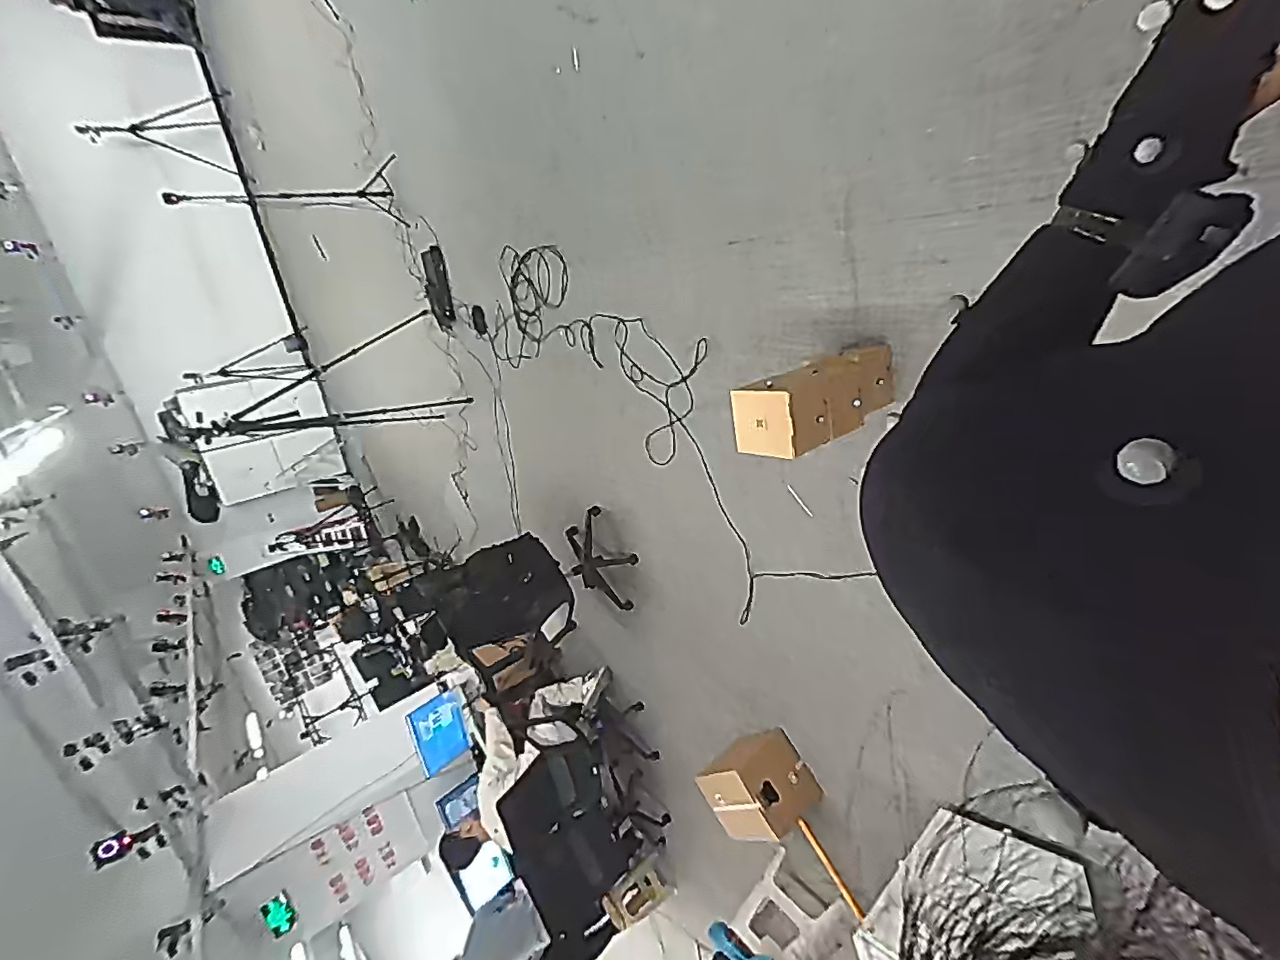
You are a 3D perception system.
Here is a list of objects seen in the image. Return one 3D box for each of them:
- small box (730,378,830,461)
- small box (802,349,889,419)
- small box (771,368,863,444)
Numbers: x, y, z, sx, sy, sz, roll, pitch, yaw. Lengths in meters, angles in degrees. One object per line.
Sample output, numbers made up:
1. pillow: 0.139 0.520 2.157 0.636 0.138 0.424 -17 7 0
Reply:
1. small box: 0.354 -0.157 1.361 0.179 0.176 0.168 11 117 50
2. small box: 0.595 -0.274 1.548 0.179 0.176 0.168 8 115 52
3. small box: 0.476 -0.205 1.458 0.179 0.176 0.168 12 119 49
